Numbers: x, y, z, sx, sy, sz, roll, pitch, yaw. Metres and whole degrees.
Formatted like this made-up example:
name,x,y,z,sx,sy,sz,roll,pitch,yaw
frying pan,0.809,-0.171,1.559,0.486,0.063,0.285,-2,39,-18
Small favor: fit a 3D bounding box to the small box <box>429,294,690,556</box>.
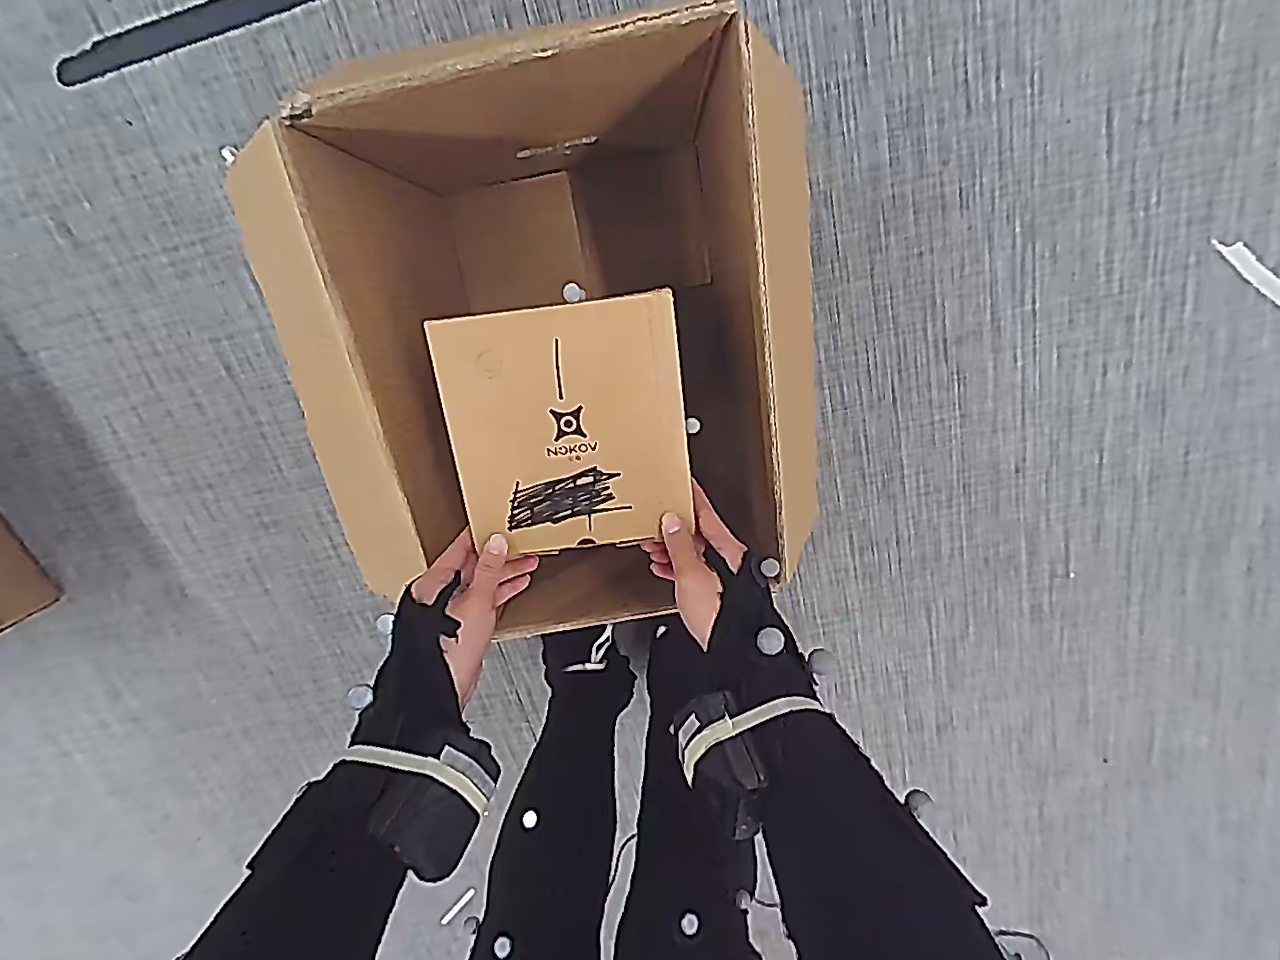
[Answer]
name,x,y,z,sx,sy,sz,roll,pitch,yaw
small box,-0.052,-0.056,0.458,0.168,0.176,0.179,-7,106,1
